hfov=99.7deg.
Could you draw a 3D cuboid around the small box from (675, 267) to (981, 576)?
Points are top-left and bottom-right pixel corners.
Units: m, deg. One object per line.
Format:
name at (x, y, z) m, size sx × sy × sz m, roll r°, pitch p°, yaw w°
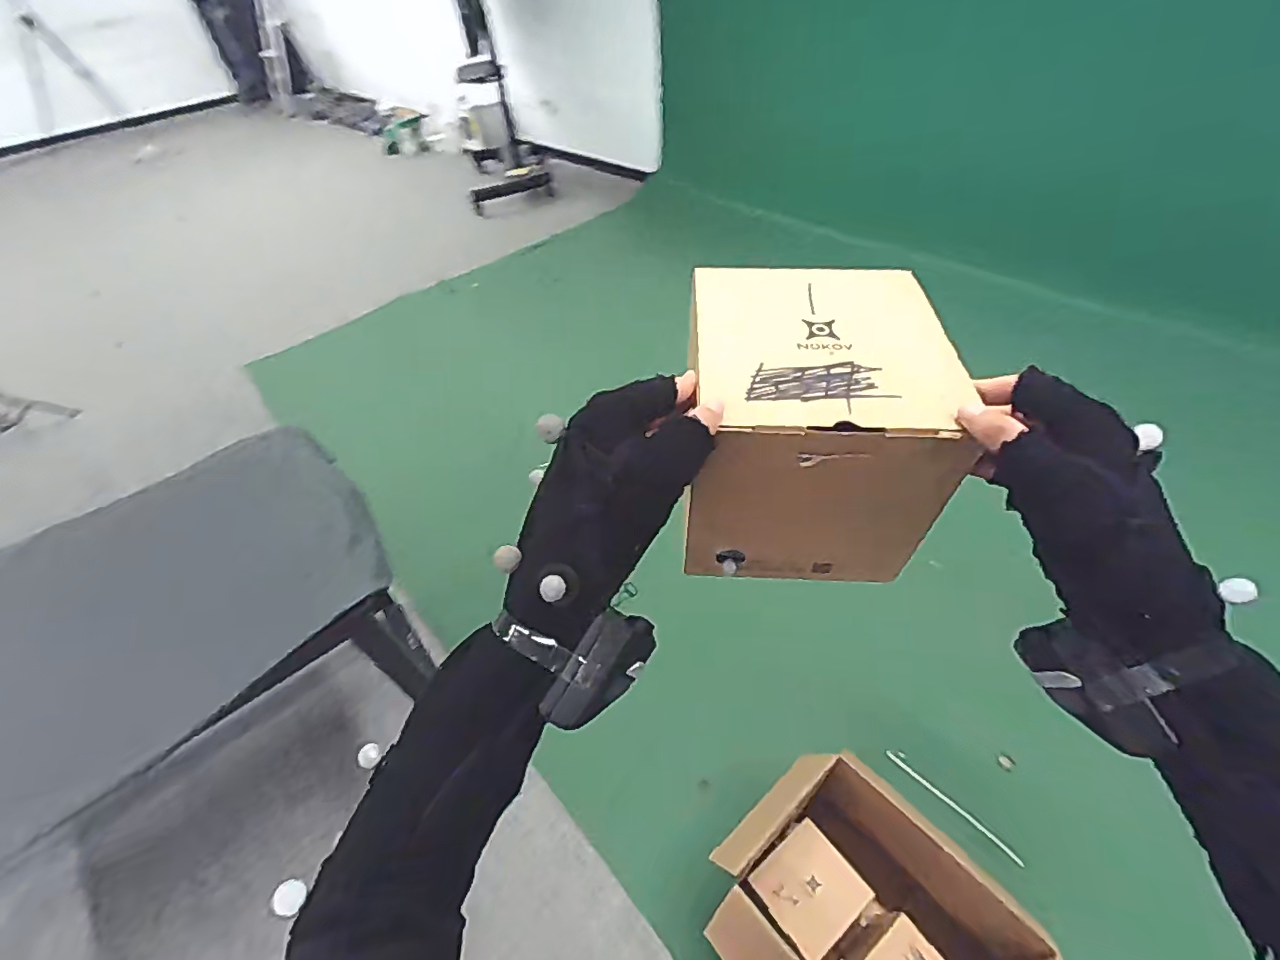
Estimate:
small box at (0.113, -0.041, 0.413) m, size 0.168 × 0.176 × 0.179 m, roll 1°, pitch 50°, yaw 2°
